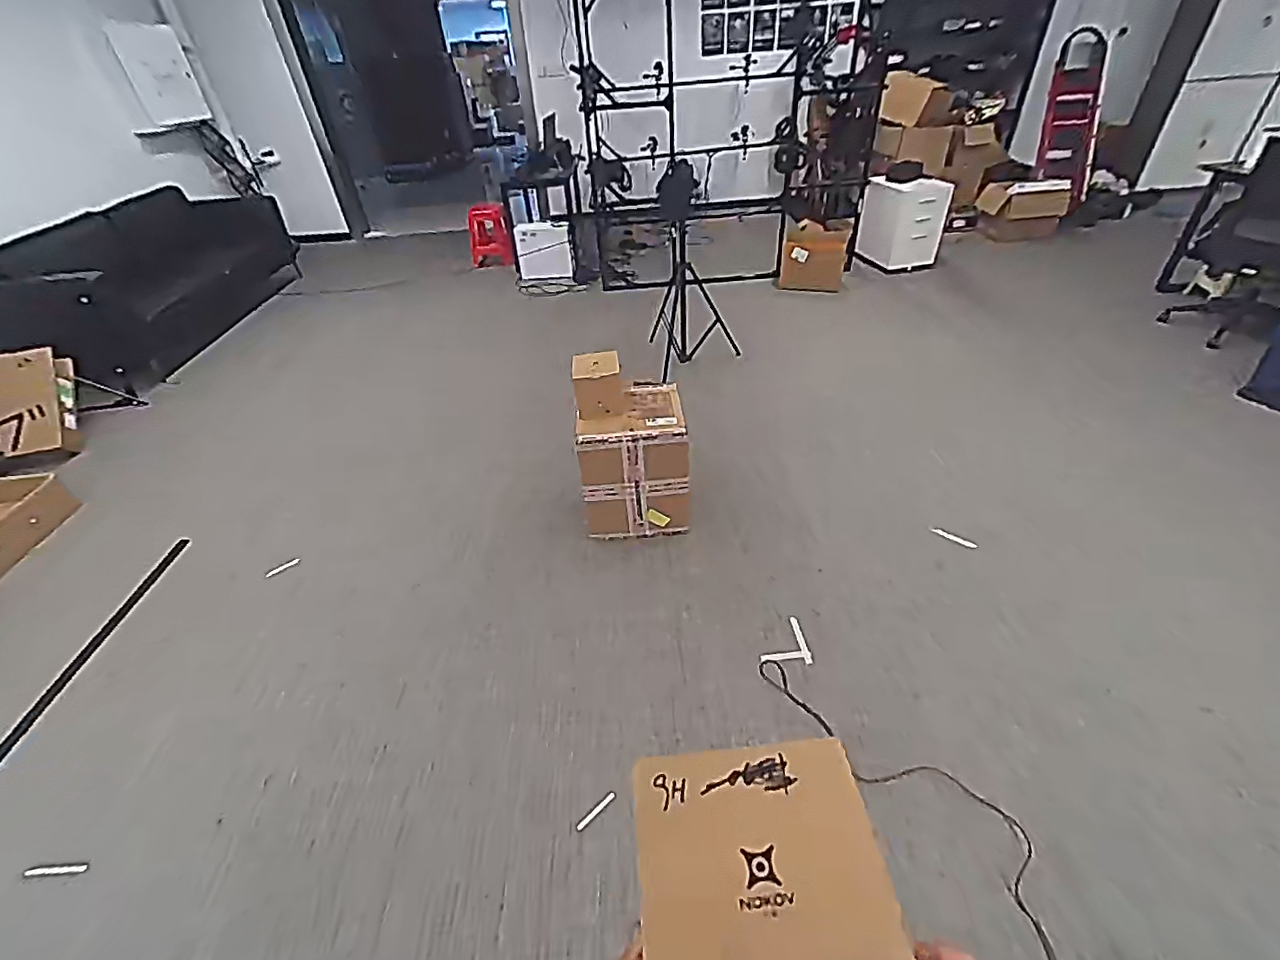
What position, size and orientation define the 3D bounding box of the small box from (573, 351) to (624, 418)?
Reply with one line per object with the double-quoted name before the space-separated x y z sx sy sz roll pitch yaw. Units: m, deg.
"small box" -0.150 -0.347 1.973 0.168 0.176 0.179 -7 41 0
